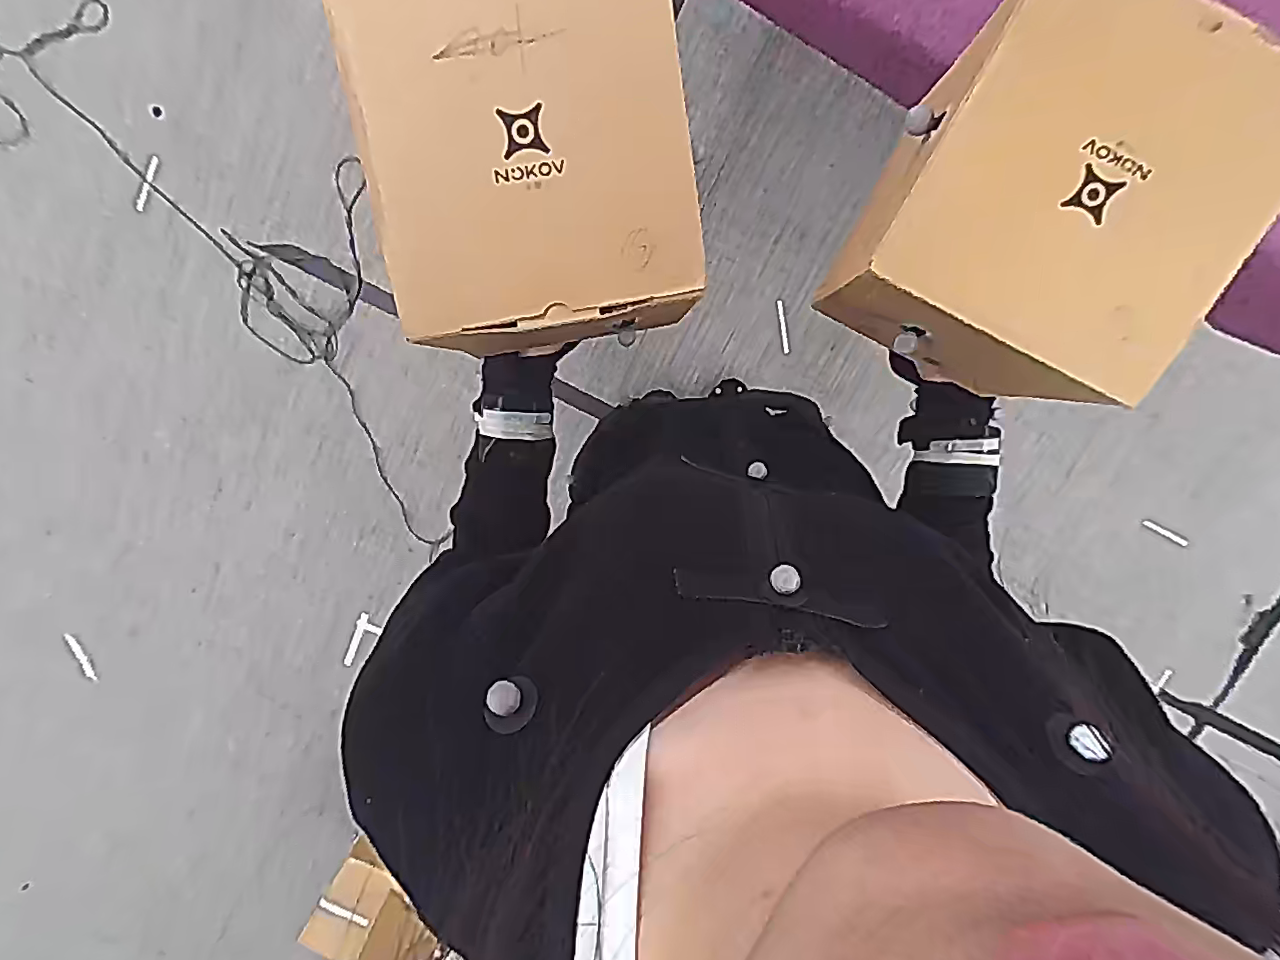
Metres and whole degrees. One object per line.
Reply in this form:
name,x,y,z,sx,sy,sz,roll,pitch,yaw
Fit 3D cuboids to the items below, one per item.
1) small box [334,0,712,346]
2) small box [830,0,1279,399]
small box,-0.056,-0.187,0.349,0.168,0.176,0.179,-10,100,-1
small box,0.246,-0.169,0.356,0.168,0.176,0.179,28,101,1
